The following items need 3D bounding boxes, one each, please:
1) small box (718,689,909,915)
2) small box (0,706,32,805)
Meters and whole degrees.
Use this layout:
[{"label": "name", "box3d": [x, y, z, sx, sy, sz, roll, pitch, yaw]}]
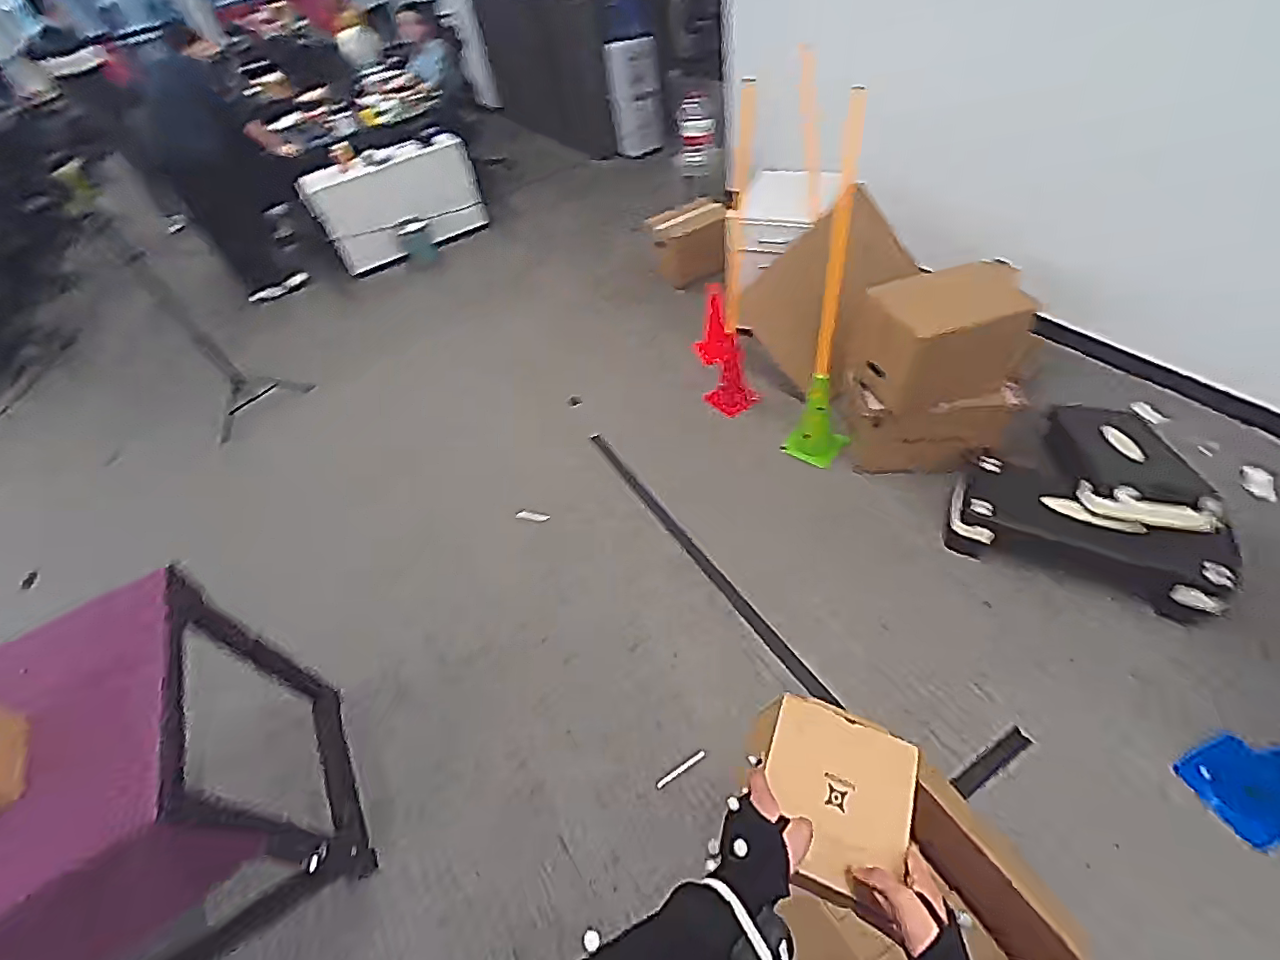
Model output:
[{"label": "small box", "box3d": [0.208, 0.395, 0.674, 0.168, 0.176, 0.179, 21, 56, 9]}, {"label": "small box", "box3d": [-1.187, 0.483, 0.901, 0.168, 0.176, 0.179, -34, 51, -19]}]
